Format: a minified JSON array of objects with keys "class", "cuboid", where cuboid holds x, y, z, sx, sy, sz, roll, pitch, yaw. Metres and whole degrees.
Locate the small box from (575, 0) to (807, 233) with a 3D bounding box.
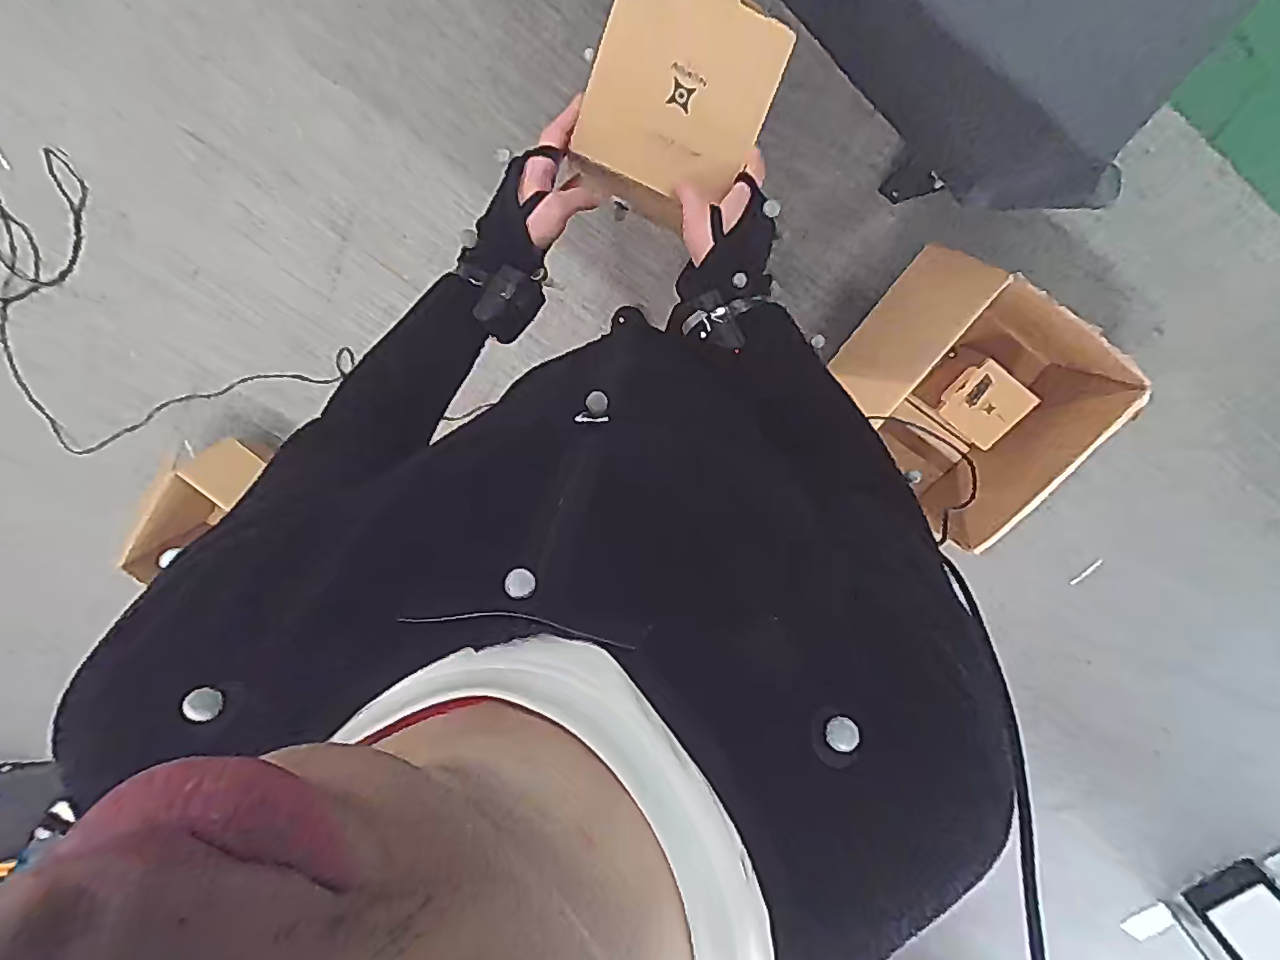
[{"class":"small box","cuboid":[0.034,-0.379,0.557,0.168,0.176,0.179,18,106,-13]}]
